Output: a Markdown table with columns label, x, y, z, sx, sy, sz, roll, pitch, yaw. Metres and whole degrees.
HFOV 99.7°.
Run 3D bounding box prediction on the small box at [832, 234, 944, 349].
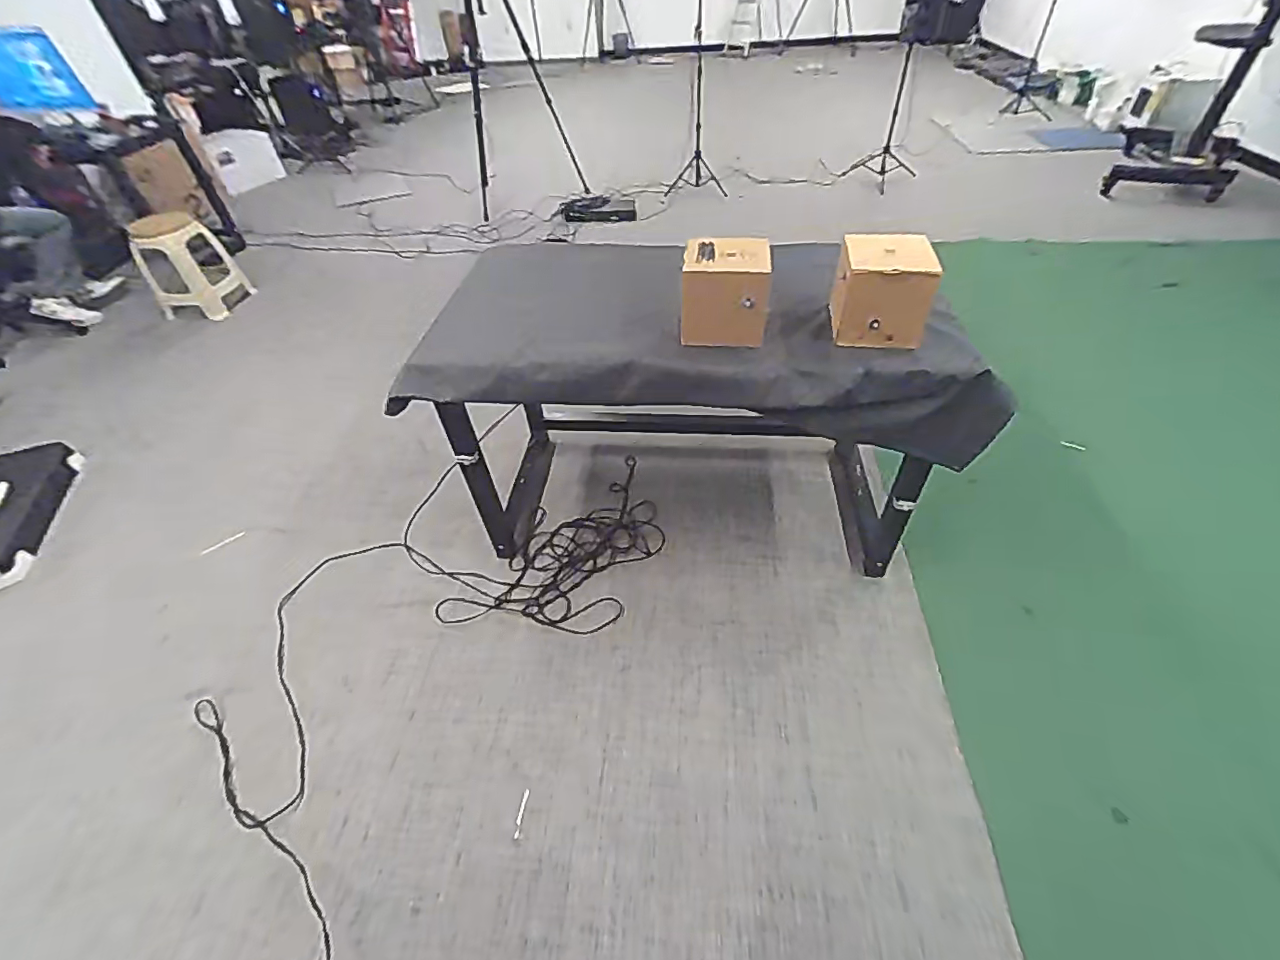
| label | x | y | z | sx | sy | sz | roll | pitch | yaw |
| --- | --- | --- | --- | --- | --- | --- | --- | --- | --- |
| small box | 0.506 | -0.396 | 1.132 | 0.168 | 0.176 | 0.179 | 5 | 46 | 9 |
